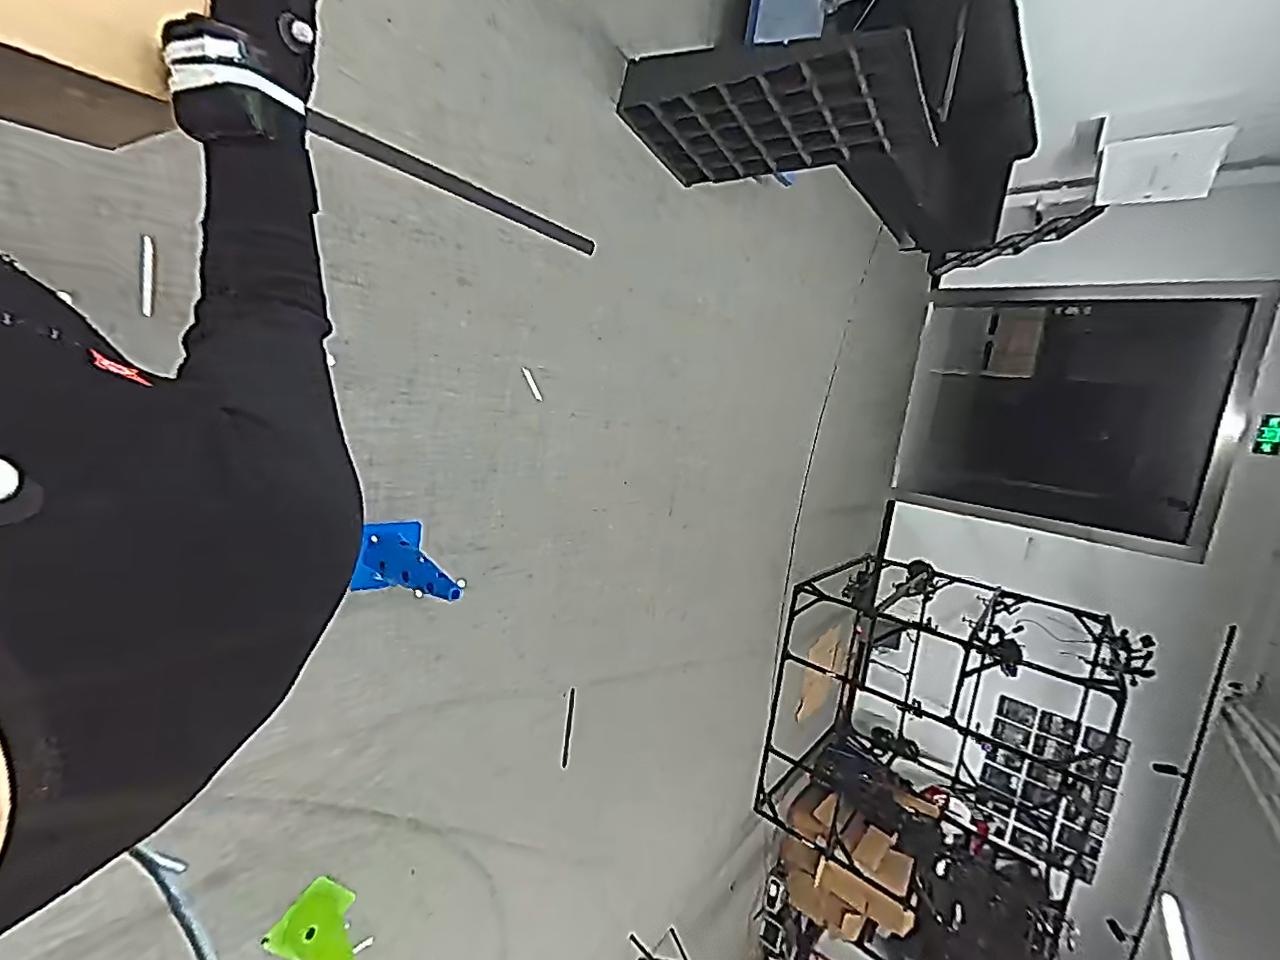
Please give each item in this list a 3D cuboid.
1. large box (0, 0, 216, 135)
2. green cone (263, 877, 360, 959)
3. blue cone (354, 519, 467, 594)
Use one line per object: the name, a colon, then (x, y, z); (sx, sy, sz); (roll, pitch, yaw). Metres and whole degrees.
large box: (-0.529, -0.442, 0.288); (0.408, 0.320, 0.320); (-9, 113, -54)
green cone: (-0.851, 1.349, 1.521); (0.202, 0.368, 0.200); (-48, 136, -34)
blue cone: (-0.614, 0.243, 1.499); (0.192, 0.380, 0.193); (3, 99, -54)
